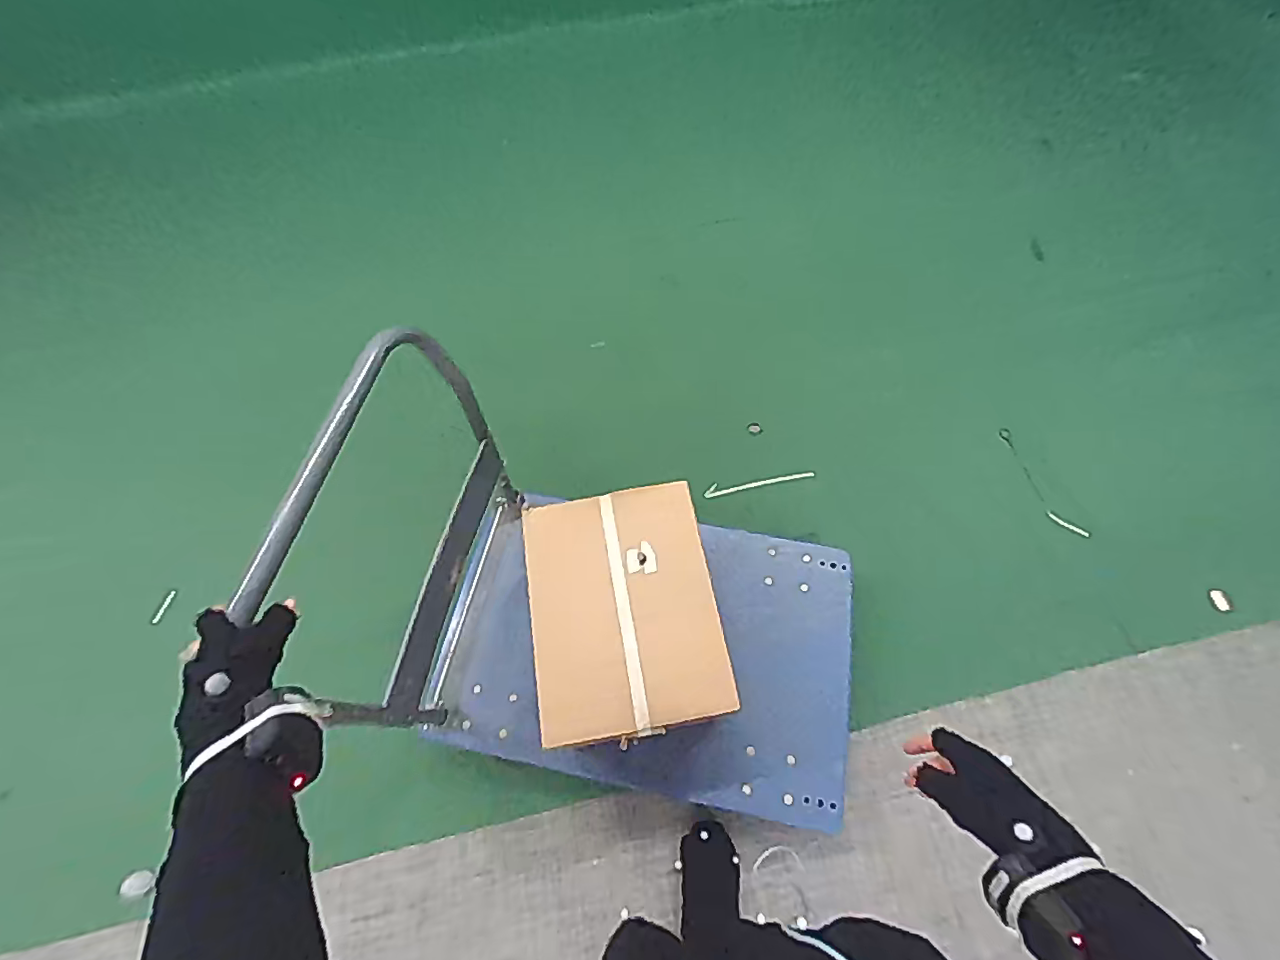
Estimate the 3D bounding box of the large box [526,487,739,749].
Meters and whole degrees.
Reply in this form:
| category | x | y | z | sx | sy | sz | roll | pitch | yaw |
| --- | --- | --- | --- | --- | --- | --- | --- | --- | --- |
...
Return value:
| category | x | y | z | sx | sy | sz | roll | pitch | yaw |
| --- | --- | --- | --- | --- | --- | --- | --- | --- | --- |
| large box | -0.019 | 0.279 | 1.062 | 0.320 | 0.320 | 0.408 | -10 | 63 | -2 |
